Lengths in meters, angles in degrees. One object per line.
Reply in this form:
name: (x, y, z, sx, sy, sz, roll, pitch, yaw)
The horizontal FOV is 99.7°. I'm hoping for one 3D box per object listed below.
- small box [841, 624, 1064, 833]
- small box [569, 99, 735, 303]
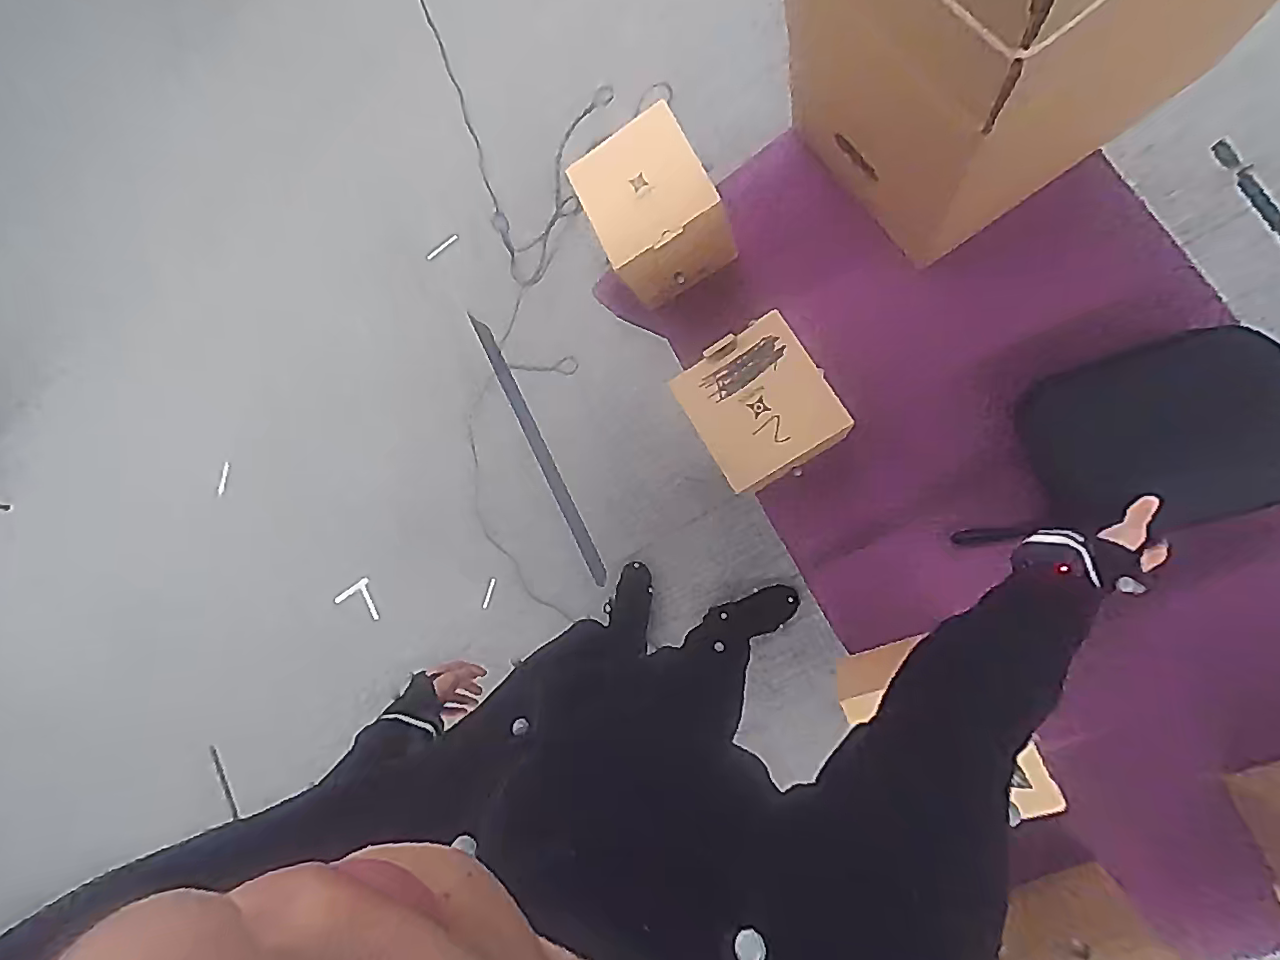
small box: (0.368, 0.296, 0.677, 0.179, 0.176, 0.168, -24, 81, 17)
small box: (0.026, -0.398, 0.807, 0.168, 0.176, 0.179, -29, 81, 15)
